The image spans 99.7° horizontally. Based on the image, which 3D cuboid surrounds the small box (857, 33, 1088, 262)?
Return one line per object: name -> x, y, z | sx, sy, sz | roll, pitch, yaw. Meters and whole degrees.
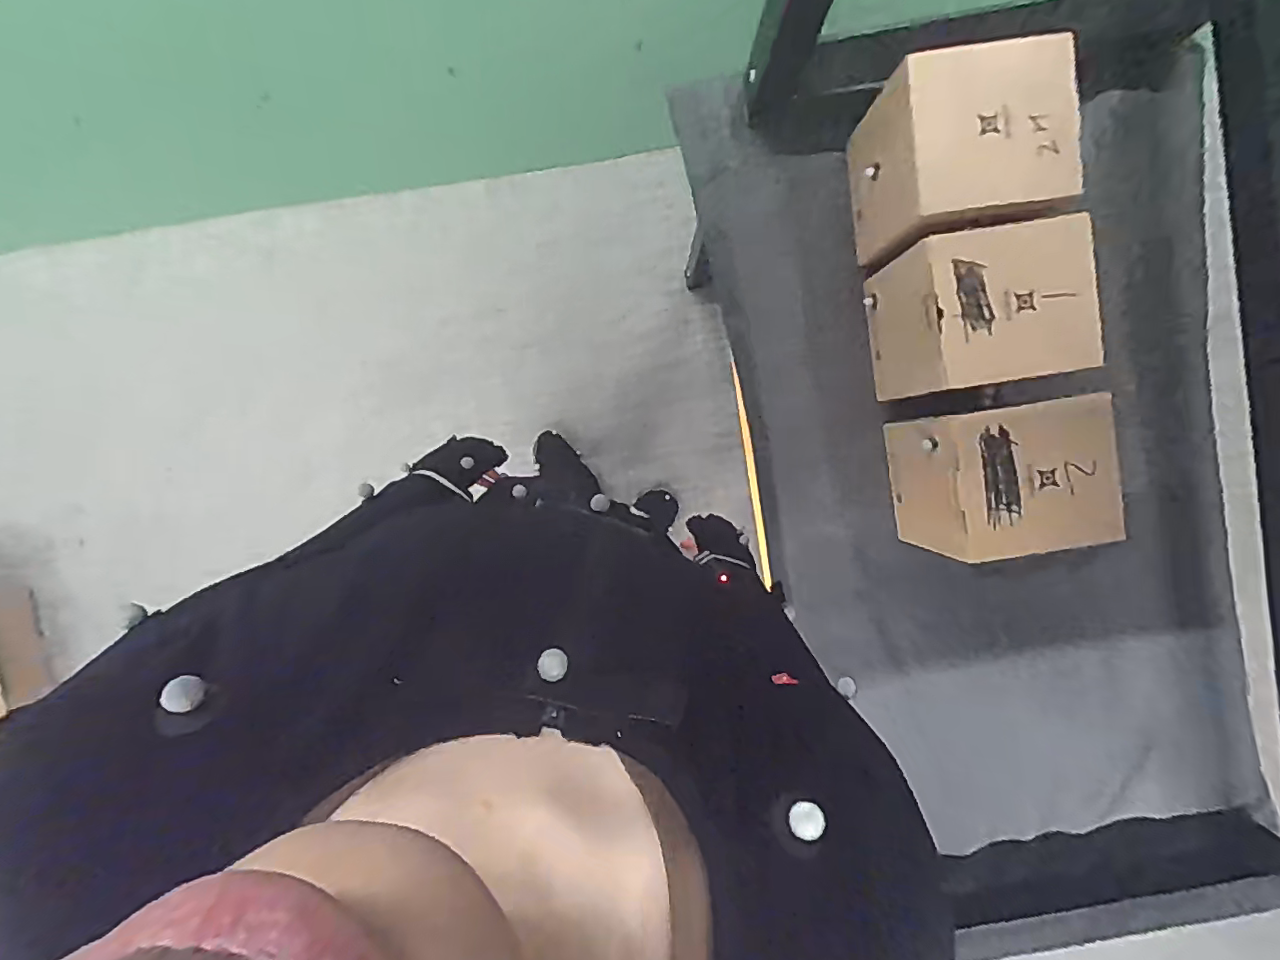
small box -> 0.371, -0.371, 0.636 | 0.179, 0.176, 0.168 | -7, 95, 0
